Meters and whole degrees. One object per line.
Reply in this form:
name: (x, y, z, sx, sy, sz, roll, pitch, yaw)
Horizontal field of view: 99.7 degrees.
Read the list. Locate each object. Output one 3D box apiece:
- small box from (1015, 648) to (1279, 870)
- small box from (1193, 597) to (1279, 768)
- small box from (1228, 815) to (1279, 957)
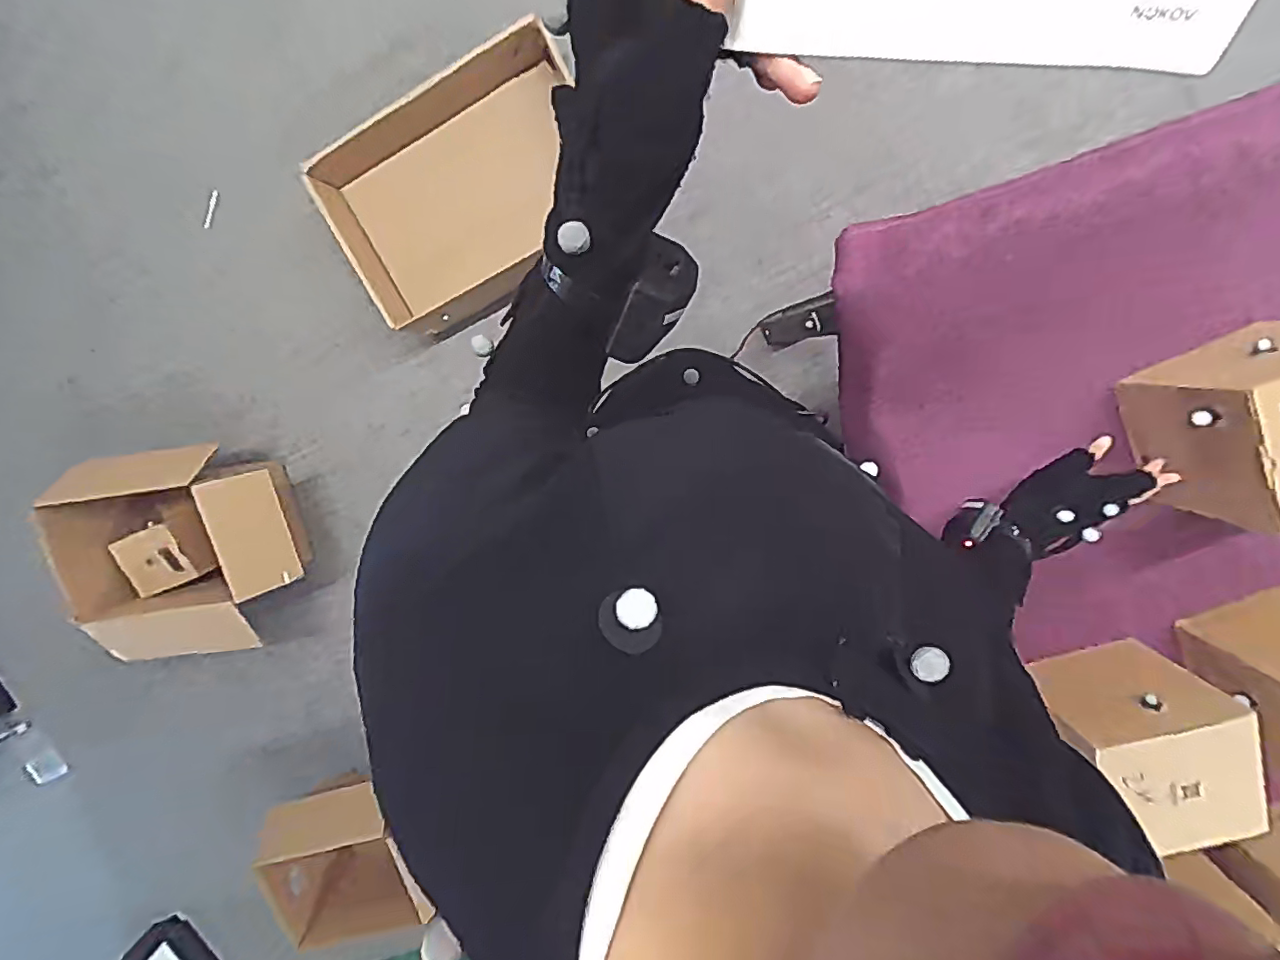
small box: (0.625, 0.338, 0.684, 0.179, 0.176, 0.168, -17, 101, 7)
small box: (0.836, 0.257, 0.656, 0.179, 0.176, 0.168, -22, 100, 8)
small box: (0.946, 0.574, 0.717, 0.179, 0.176, 0.168, -15, 101, 7)
